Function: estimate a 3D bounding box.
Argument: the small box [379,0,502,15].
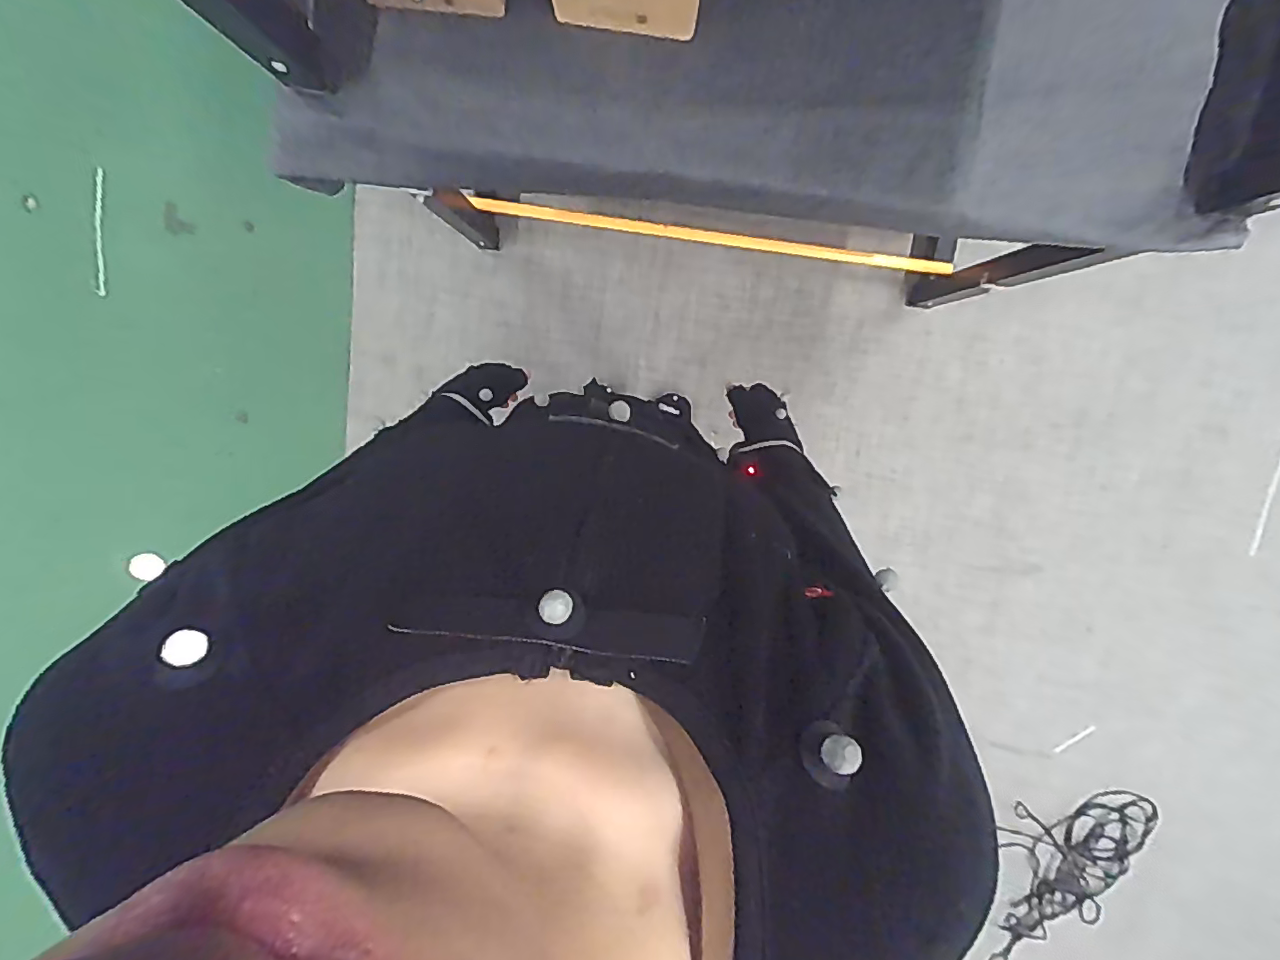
[{"bbox_3d":[-0.236,-0.633,0.548,0.168,0.176,0.179,5,100,0],"label":"small box"}]

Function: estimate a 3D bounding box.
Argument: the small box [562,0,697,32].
[{"bbox_3d":[-0.010,-0.609,0.552,0.168,0.176,0.179,7,99,-1],"label":"small box"}]
